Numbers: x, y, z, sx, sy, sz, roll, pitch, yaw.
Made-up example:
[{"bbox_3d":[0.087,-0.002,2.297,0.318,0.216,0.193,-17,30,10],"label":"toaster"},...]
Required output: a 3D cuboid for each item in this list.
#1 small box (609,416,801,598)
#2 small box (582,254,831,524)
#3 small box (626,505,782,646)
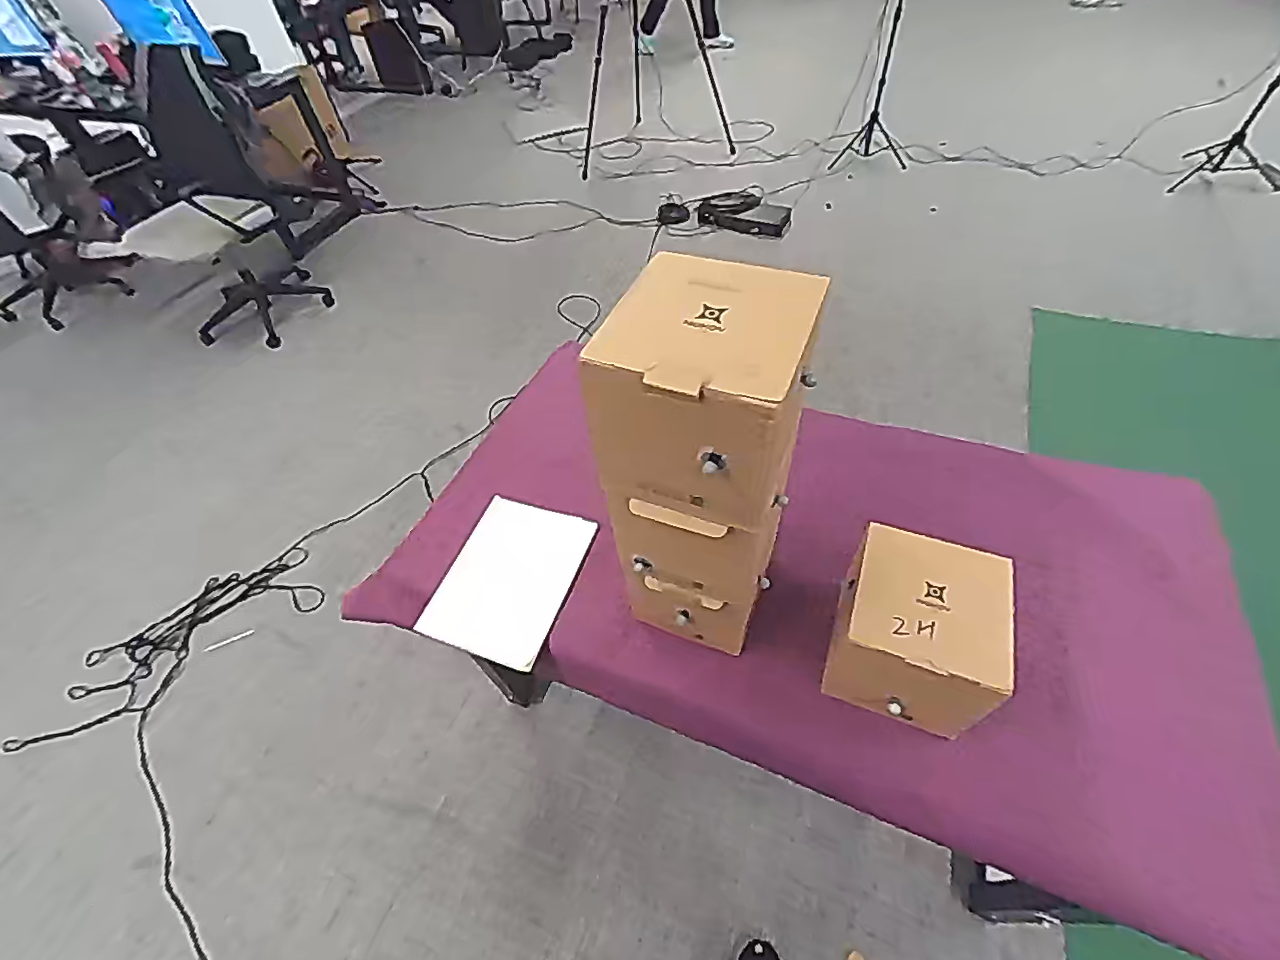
[{"bbox_3d":[0.081,0.014,0.647,0.168,0.176,0.179,17,54,18],"label":"small box"},{"bbox_3d":[0.067,-0.085,0.518,0.168,0.176,0.179,18,54,18],"label":"small box"},{"bbox_3d":[0.095,0.112,0.779,0.168,0.176,0.179,17,55,17],"label":"small box"}]
